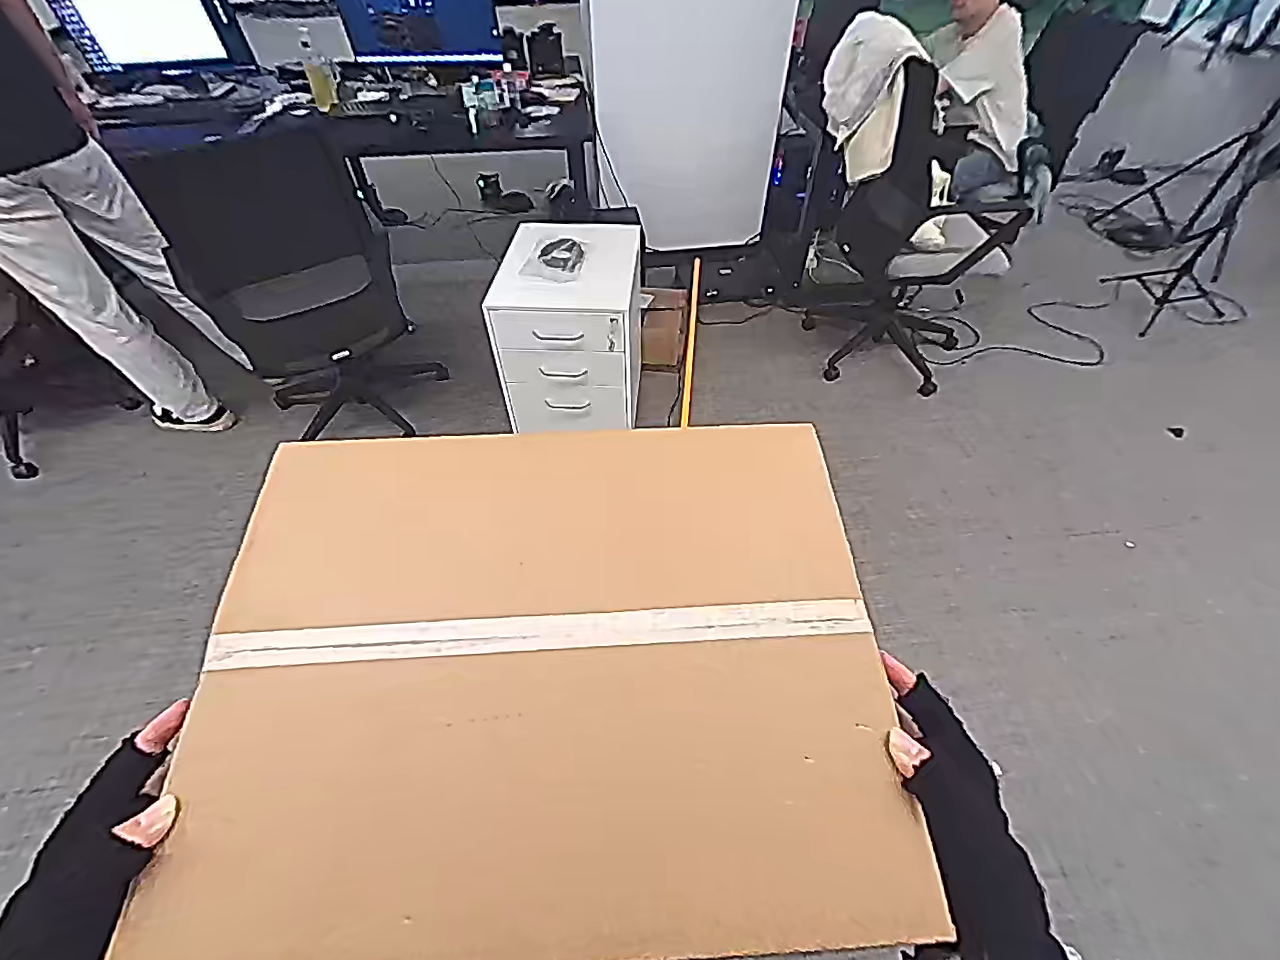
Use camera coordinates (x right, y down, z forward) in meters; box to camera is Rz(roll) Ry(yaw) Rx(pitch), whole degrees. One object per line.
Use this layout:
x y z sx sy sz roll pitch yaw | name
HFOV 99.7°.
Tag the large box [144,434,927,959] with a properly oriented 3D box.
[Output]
-0.059 0.181 0.475 0.408 0.320 0.320 -2 60 -2 | large box
